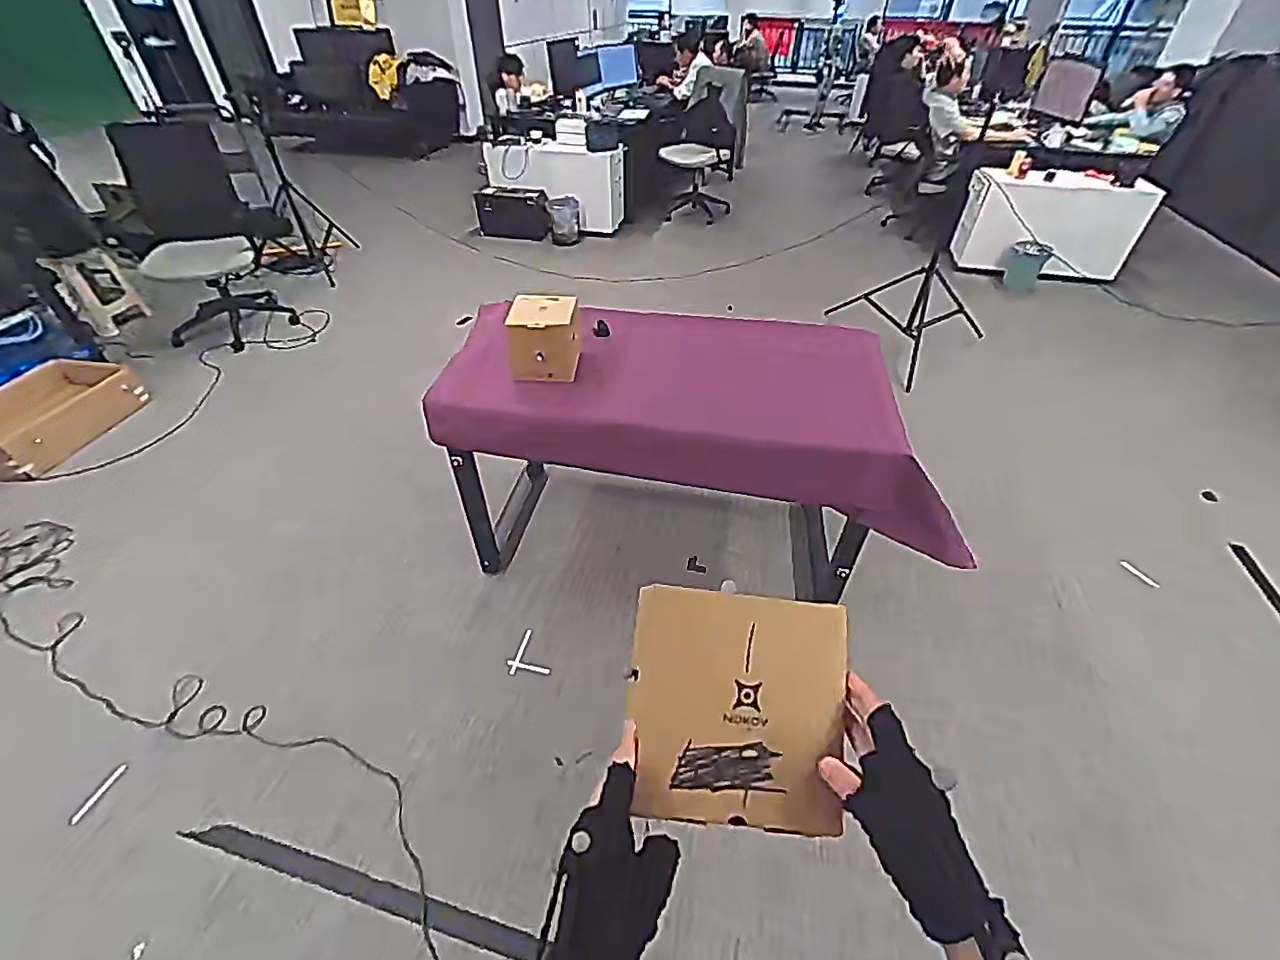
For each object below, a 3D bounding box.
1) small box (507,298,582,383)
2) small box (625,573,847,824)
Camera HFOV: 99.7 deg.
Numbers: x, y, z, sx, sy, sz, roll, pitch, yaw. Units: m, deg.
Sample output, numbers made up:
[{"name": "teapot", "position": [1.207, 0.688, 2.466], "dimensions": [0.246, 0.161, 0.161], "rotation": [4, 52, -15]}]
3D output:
[{"name": "small box", "position": [-0.252, -0.379, 1.476], "dimensions": [0.168, 0.176, 0.179], "rotation": [2, 43, 1]}, {"name": "small box", "position": [0.078, 0.190, 0.512], "dimensions": [0.168, 0.176, 0.179], "rotation": [8, 76, -3]}]
